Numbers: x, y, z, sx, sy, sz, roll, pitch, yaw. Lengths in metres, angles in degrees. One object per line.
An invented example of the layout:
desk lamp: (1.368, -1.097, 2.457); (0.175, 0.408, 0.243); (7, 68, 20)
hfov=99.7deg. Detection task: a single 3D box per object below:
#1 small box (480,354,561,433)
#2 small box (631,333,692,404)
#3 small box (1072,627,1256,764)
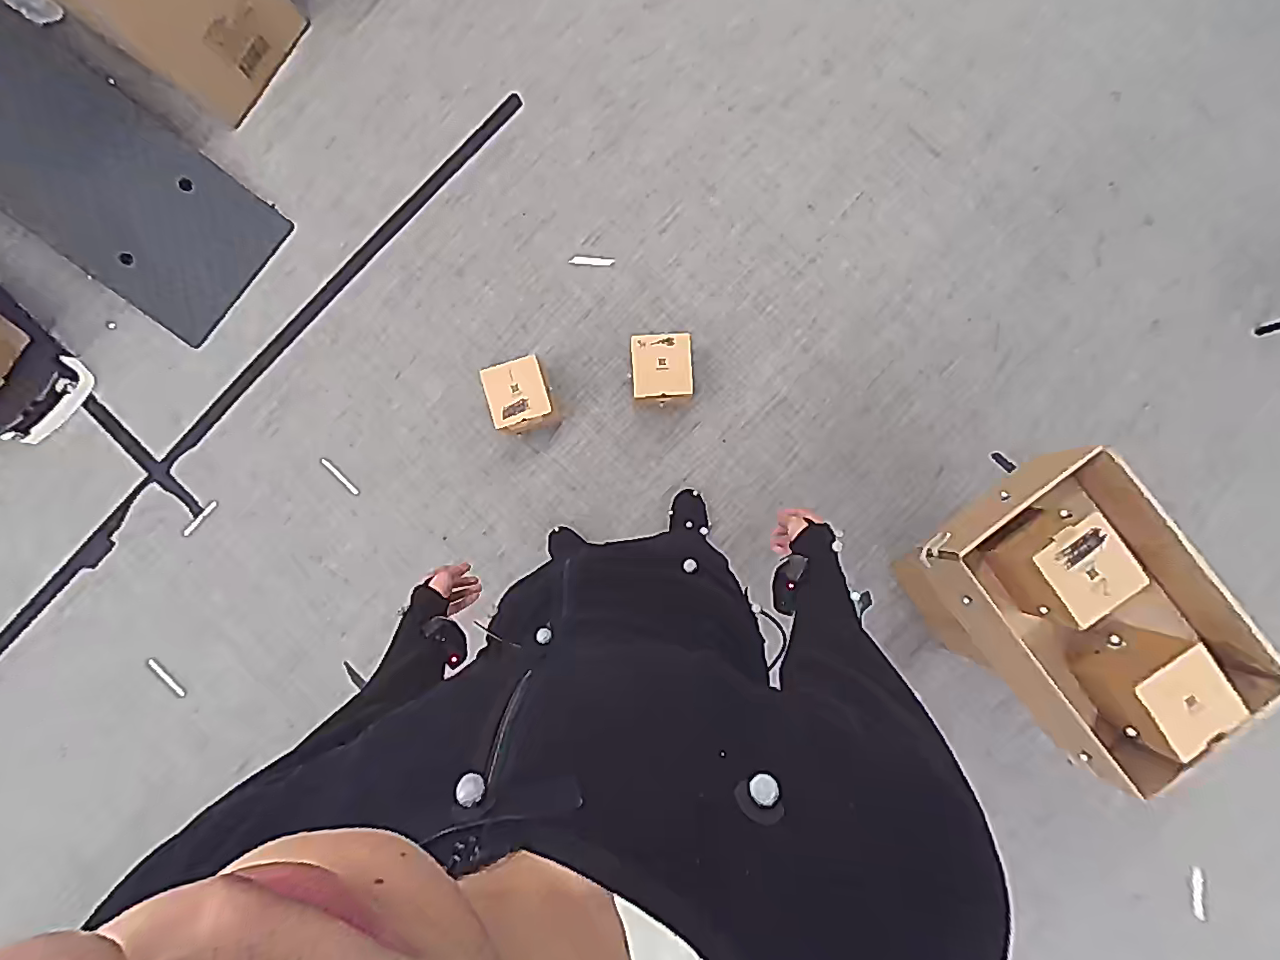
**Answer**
small box: (-0.338, -0.240, 1.564); (0.168, 0.176, 0.179); (-17, 87, 0)
small box: (0.061, -0.314, 1.562); (0.168, 0.176, 0.179); (-3, 90, 0)
small box: (1.060, 0.430, 1.111); (0.168, 0.176, 0.179); (-33, 87, -2)
